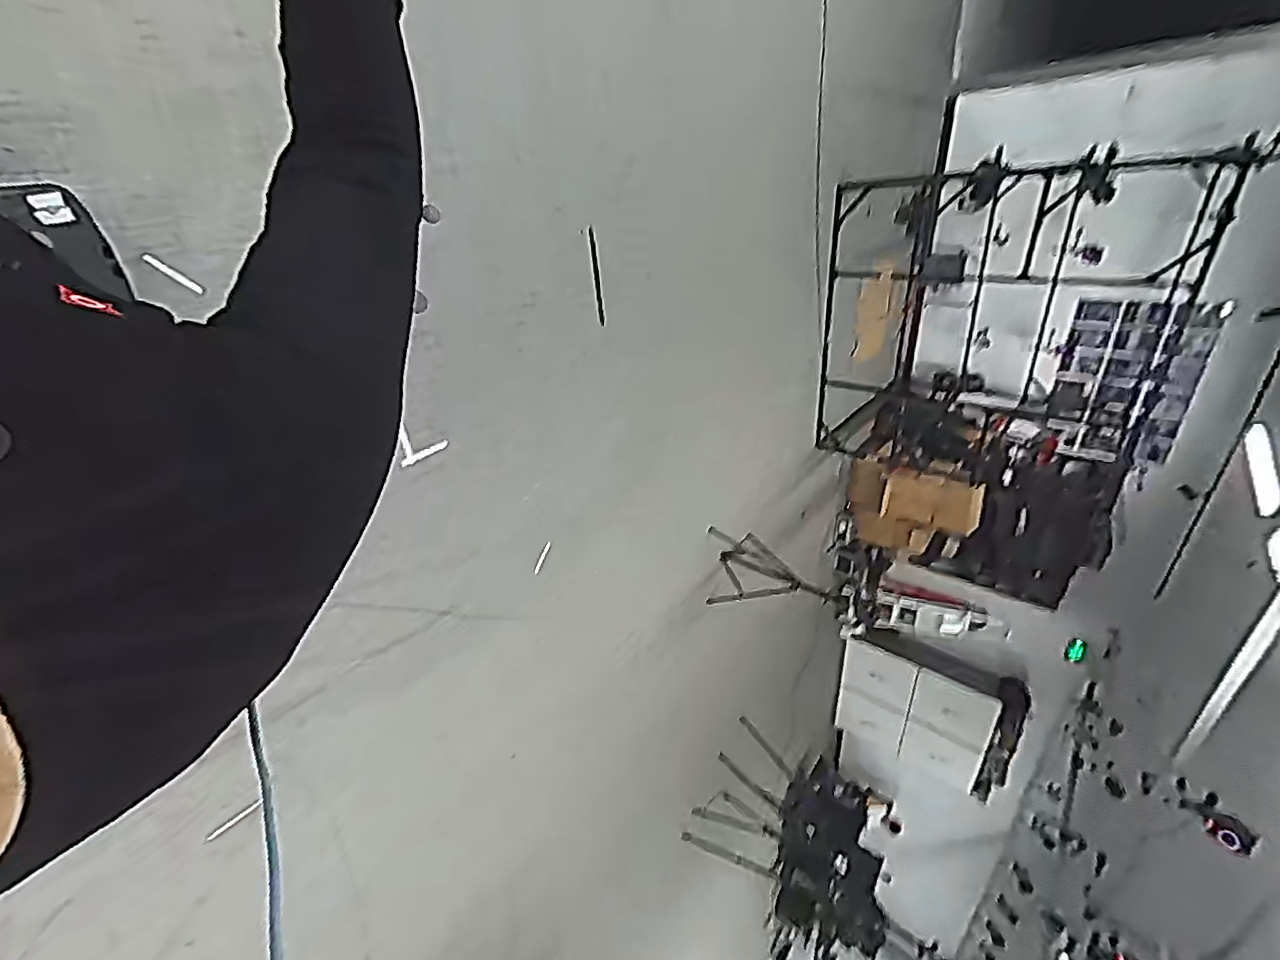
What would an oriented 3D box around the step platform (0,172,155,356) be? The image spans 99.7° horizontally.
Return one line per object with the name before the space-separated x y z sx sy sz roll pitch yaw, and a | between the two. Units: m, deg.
step platform | -1.285 -0.334 0.915 0.684 0.204 0.286 -36 131 -40
